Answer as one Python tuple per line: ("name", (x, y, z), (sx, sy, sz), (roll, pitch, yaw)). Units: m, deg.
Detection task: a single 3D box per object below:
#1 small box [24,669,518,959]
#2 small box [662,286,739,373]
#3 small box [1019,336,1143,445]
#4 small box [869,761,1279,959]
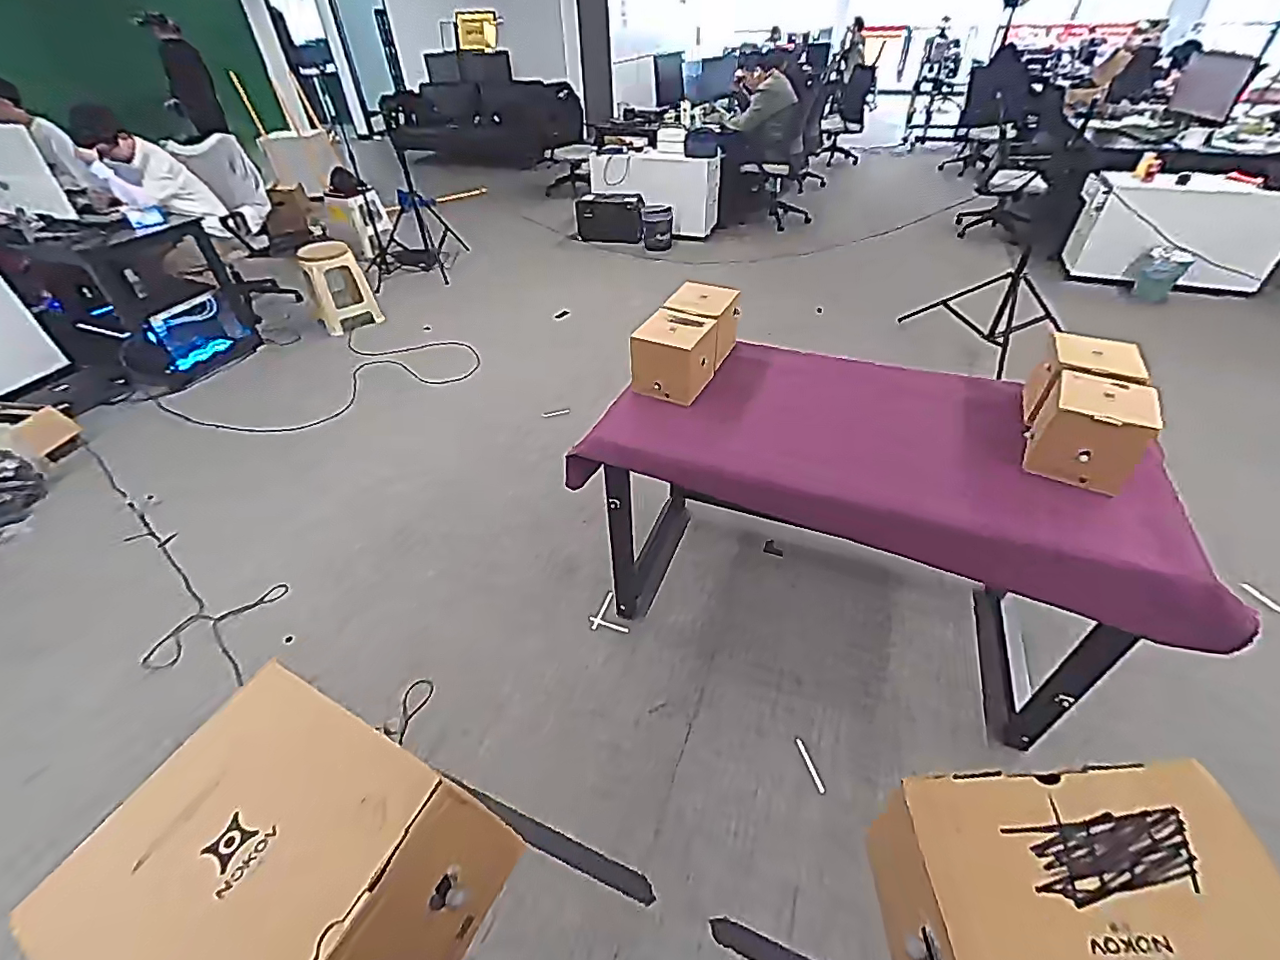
("small box", (-0.210, 0.264, 0.358), (0.179, 0.176, 0.168), (15, 49, 25))
("small box", (0.169, -0.431, 1.543), (0.168, 0.176, 0.179), (17, 45, 21))
("small box", (1.017, -0.211, 1.266), (0.168, 0.176, 0.179), (18, 44, 20))
("small box", (0.249, 0.286, 0.313), (0.168, 0.176, 0.179), (-7, 46, 6))
